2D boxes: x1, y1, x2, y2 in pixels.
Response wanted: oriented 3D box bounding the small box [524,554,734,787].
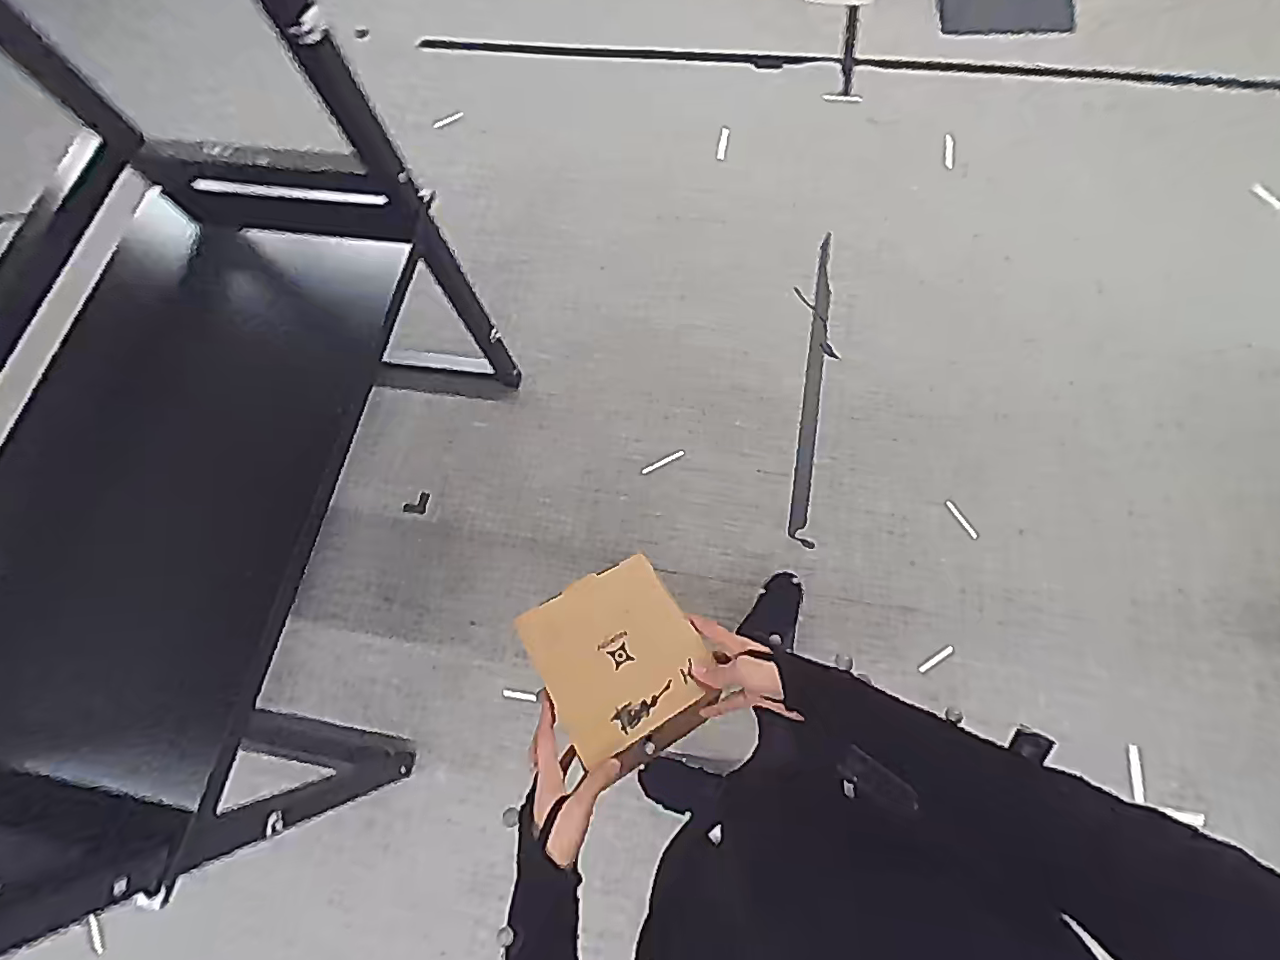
[{"bbox_3d":[-0.018,0.224,0.630,0.168,0.176,0.179,-25,60,-18],"label":"small box"}]
